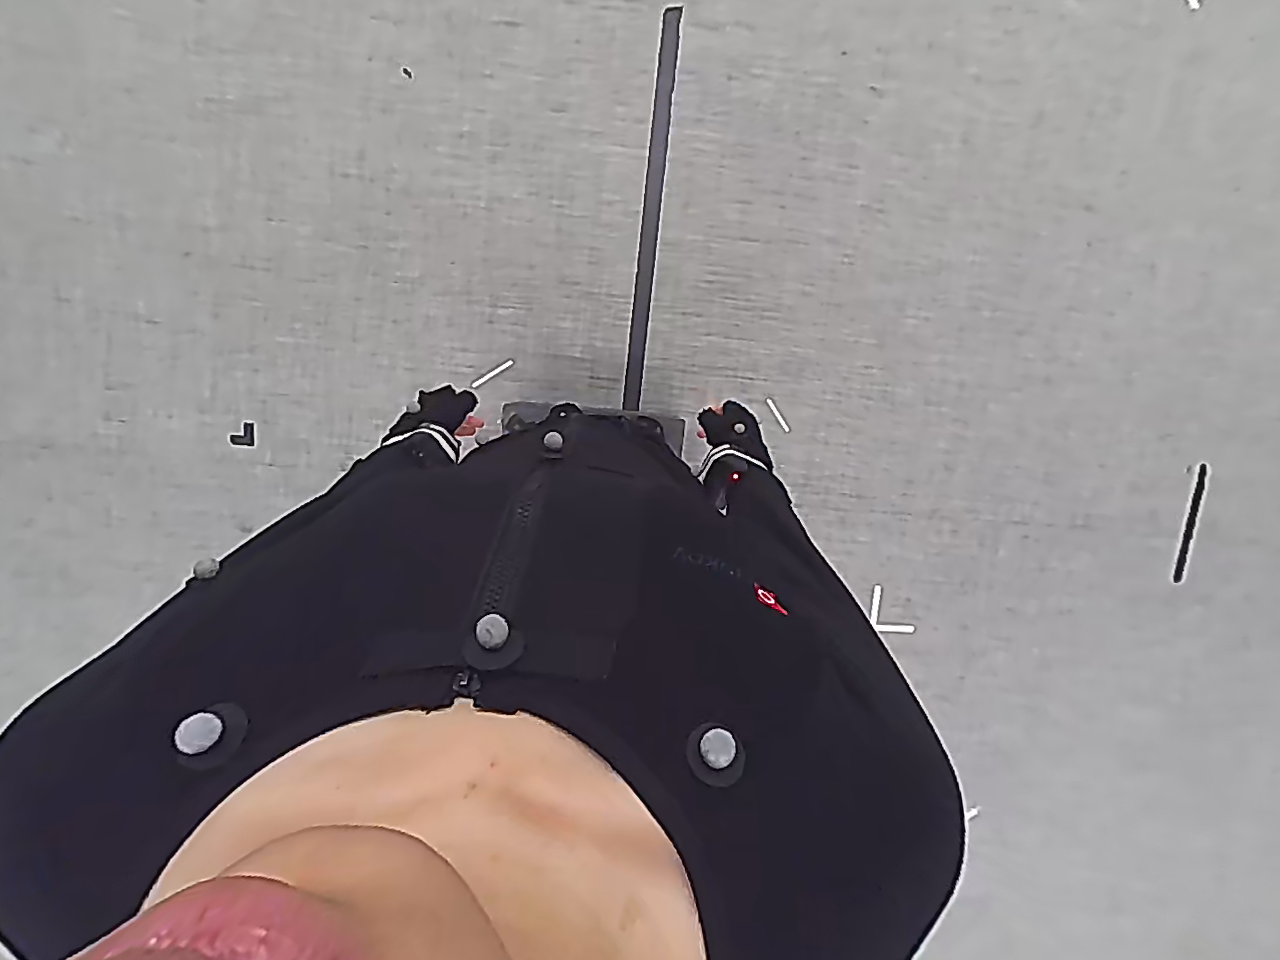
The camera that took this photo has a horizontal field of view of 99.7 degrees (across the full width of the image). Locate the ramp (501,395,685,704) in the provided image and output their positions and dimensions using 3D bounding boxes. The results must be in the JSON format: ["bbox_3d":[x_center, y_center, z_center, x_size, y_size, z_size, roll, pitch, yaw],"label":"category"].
[{"bbox_3d":[-0.163,0.259,1.605,0.509,0.206,0.991,3,100,-4],"label":"ramp"}]
